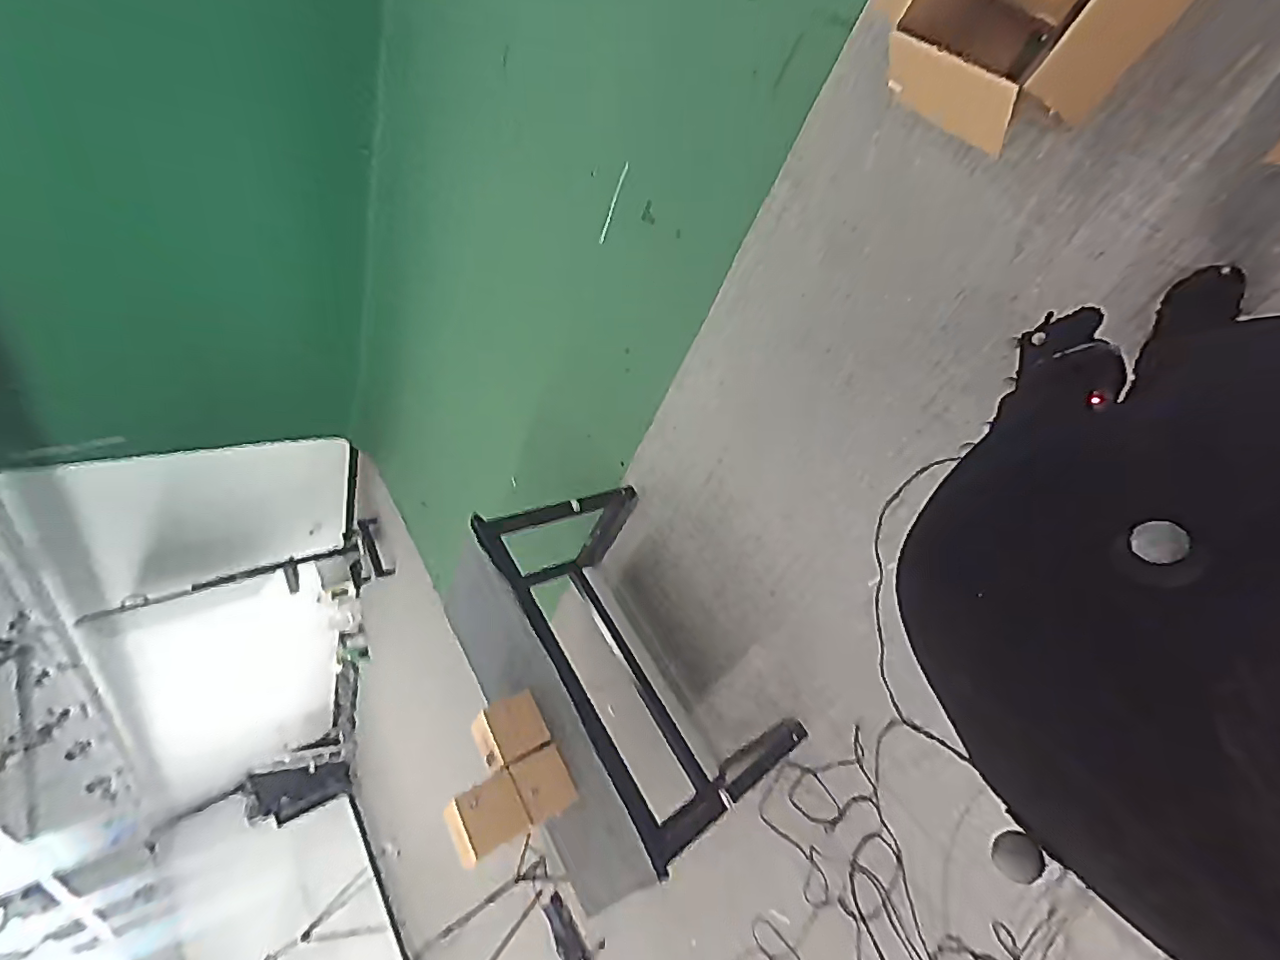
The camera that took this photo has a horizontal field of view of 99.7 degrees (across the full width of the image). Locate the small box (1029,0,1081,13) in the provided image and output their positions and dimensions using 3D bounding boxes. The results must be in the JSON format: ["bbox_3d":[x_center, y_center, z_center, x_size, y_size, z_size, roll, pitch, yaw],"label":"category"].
[{"bbox_3d":[0.694,-0.914,0.883,0.179,0.176,0.168,54,133,23],"label":"small box"}]

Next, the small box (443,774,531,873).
[{"bbox_3d":[-0.439,0.974,1.549,0.179,0.176,0.168,55,134,24],"label":"small box"}]
